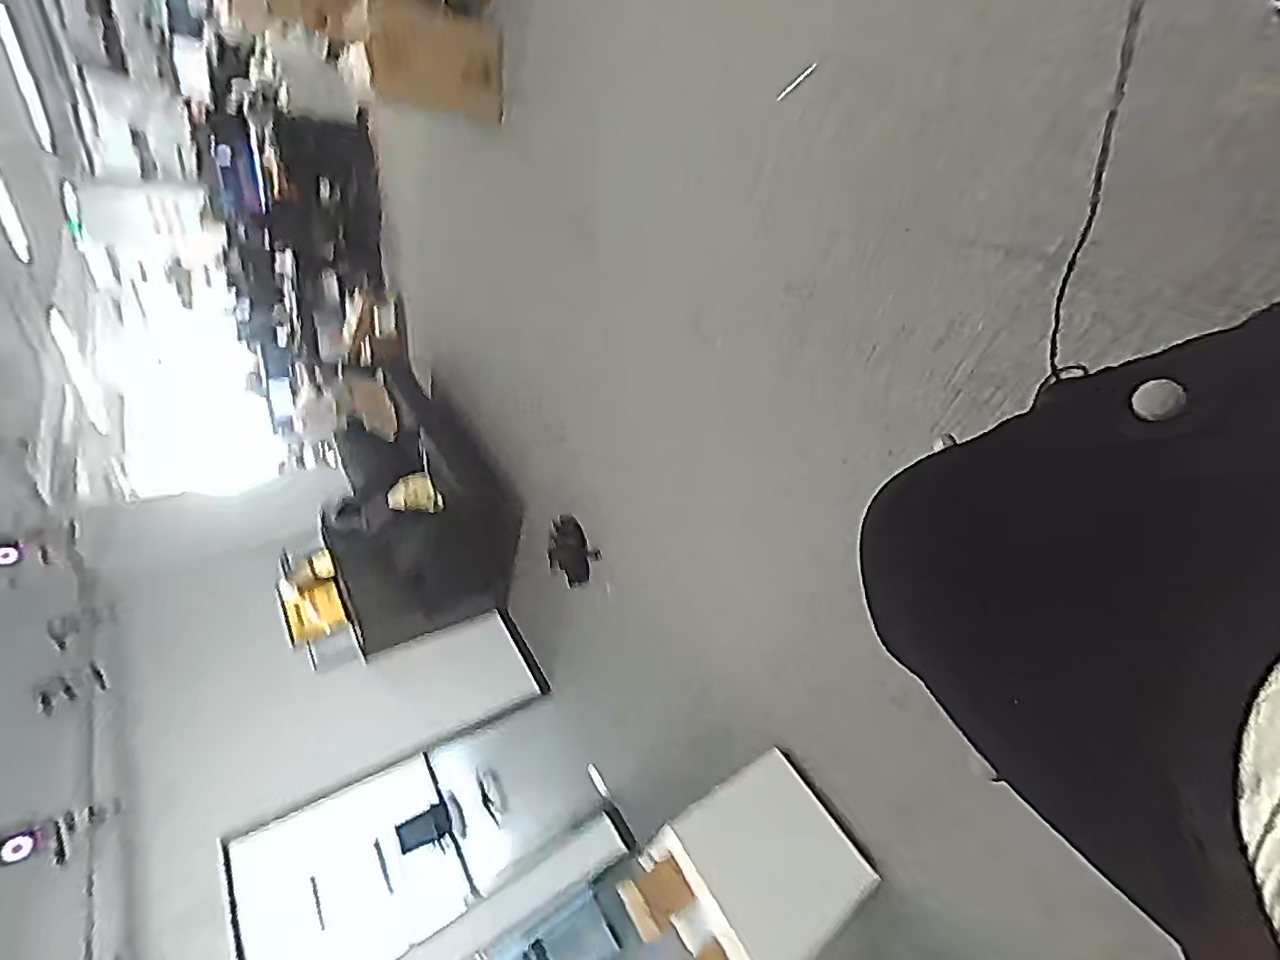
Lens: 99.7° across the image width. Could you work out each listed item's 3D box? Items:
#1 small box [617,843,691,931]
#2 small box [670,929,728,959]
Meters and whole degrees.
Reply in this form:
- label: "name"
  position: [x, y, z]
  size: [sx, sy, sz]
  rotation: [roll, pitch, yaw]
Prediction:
- label: "small box"
  position: [0.049, 1.382, 1.840]
  size: [0.168, 0.176, 0.179]
  rotation: [52, 139, 30]
- label: "small box"
  position: [0.188, 1.571, 1.707]
  size: [0.168, 0.176, 0.179]
  rotation: [51, 139, 33]
